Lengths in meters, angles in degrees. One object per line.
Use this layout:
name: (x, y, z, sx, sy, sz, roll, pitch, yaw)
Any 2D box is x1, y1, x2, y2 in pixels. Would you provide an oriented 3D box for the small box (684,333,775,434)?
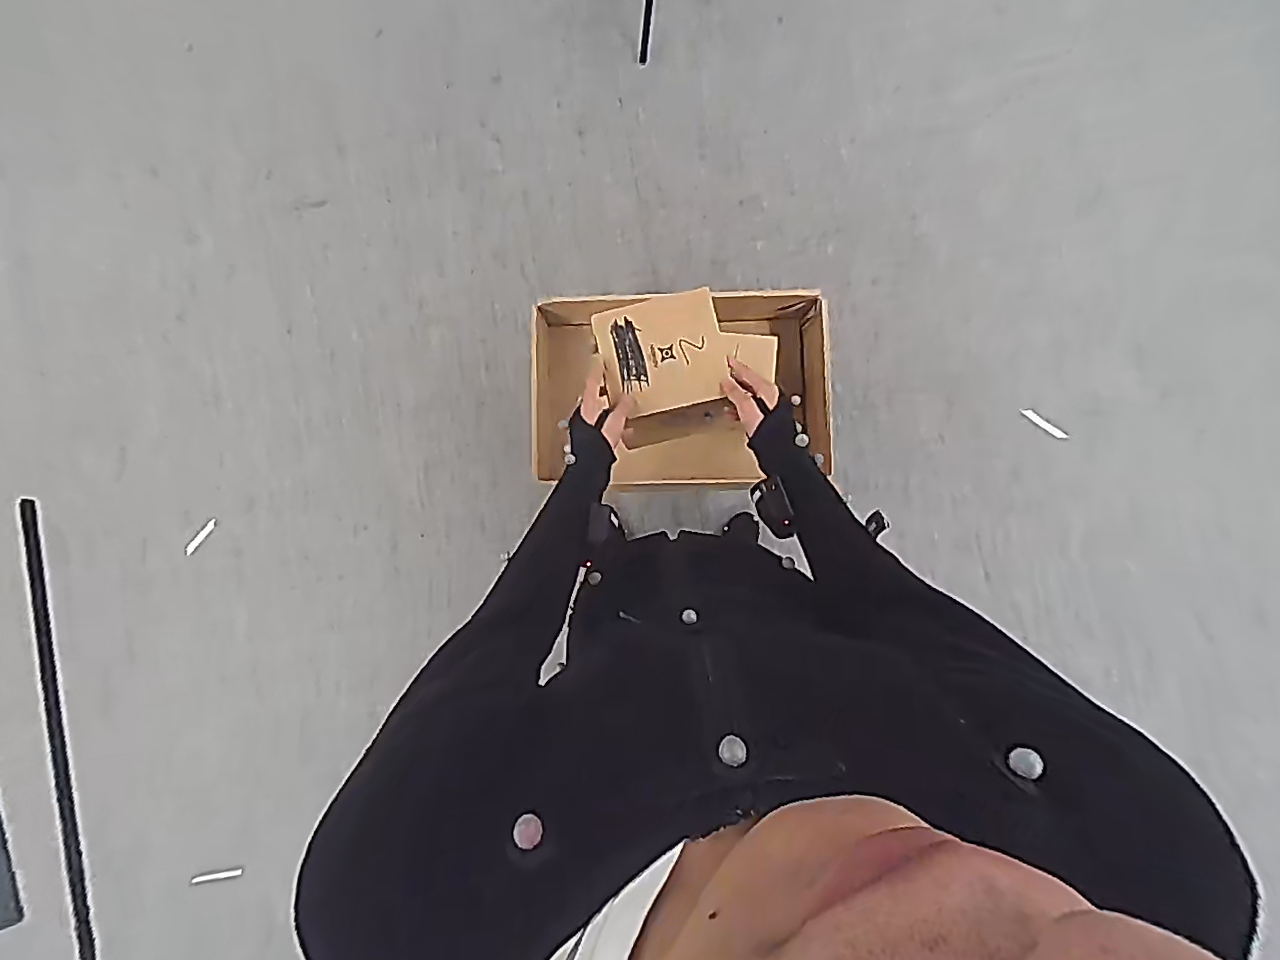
small box: (0.186, -0.200, 1.165, 0.168, 0.176, 0.179, 5, 86, 2)
